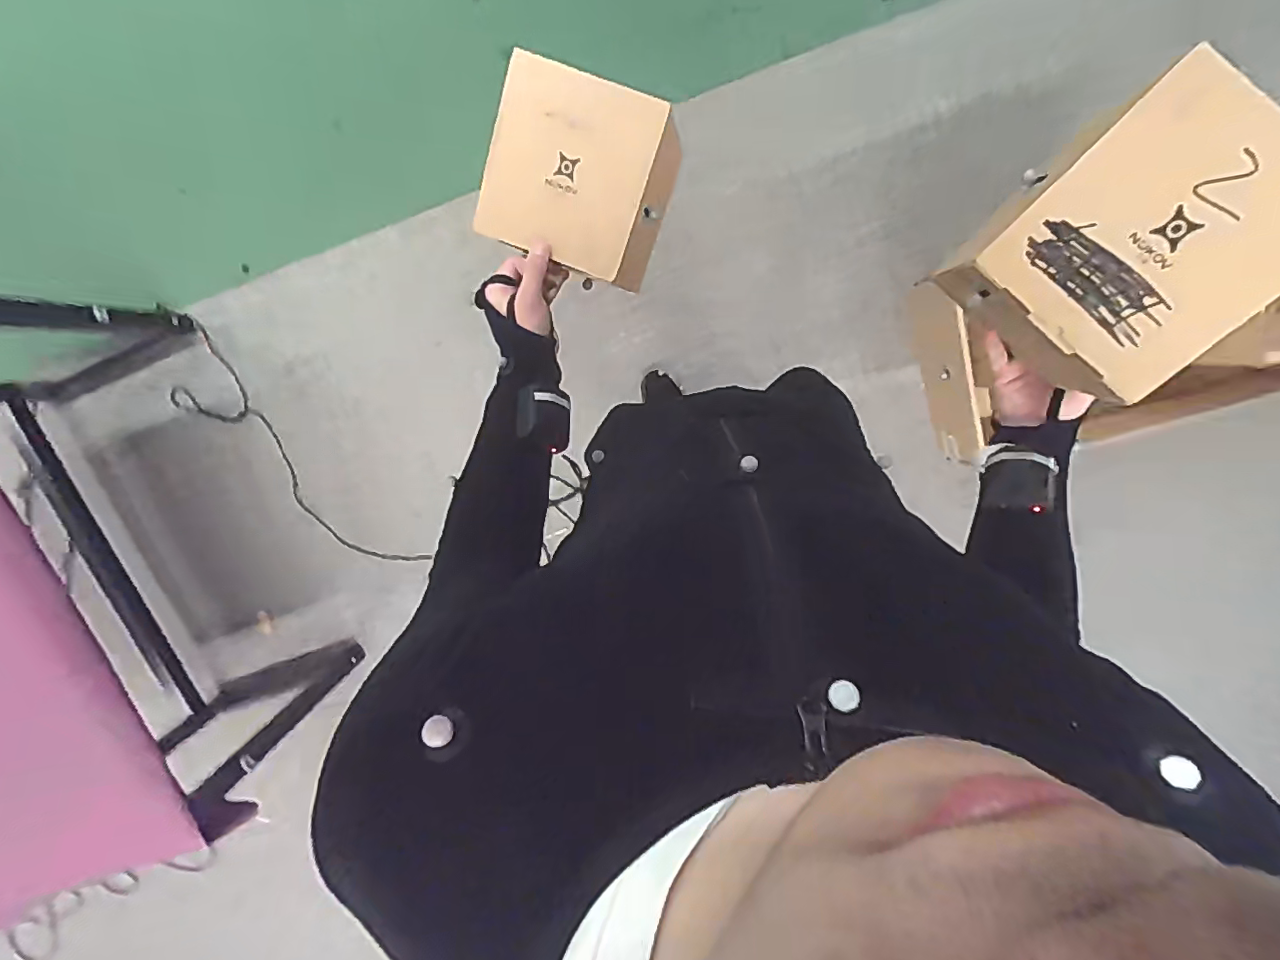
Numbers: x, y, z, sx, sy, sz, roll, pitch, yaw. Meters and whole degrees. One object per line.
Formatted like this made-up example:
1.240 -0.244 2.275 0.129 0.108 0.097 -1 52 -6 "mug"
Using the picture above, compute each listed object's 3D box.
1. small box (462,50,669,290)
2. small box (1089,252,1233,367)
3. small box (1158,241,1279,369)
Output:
-0.074 -0.330 0.618 0.168 0.176 0.179 21 108 2 "small box"
1.004 -0.317 1.017 0.179 0.176 0.168 -16 100 7 "small box"
0.992 -0.283 0.858 0.179 0.176 0.168 -16 101 7 "small box"
